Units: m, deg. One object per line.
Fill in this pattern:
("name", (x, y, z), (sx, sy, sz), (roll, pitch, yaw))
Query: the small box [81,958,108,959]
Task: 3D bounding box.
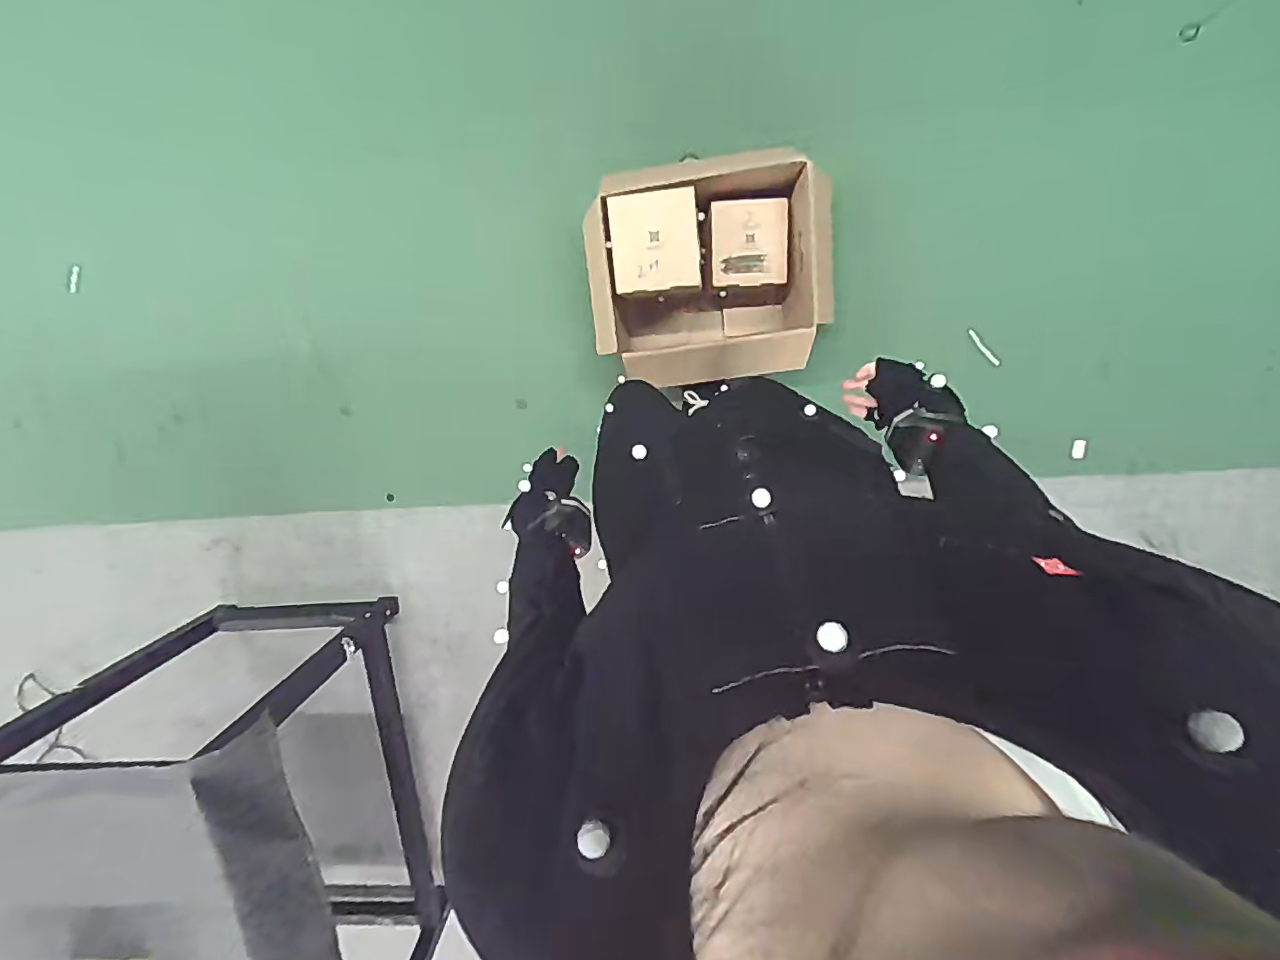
("small box", (-1.000, 1.003, 0.965), (0.179, 0.176, 0.168), (-4, 103, 6))
